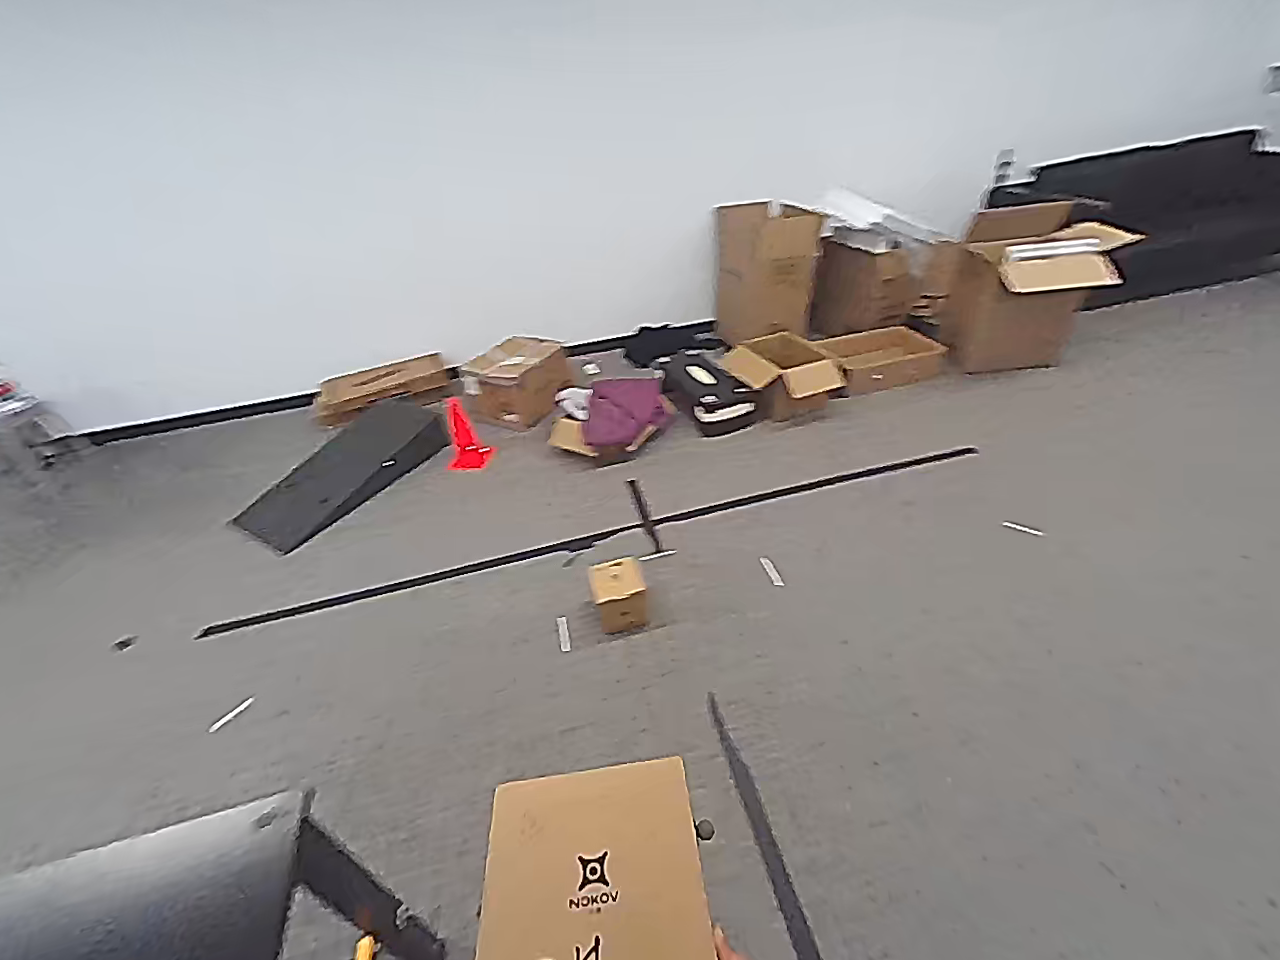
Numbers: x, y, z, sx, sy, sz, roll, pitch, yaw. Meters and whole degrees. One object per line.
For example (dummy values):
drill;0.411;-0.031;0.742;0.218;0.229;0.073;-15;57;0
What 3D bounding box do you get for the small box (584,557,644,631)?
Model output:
small box;-0.090;0.408;1.902;0.168;0.176;0.179;-14;38;-9
